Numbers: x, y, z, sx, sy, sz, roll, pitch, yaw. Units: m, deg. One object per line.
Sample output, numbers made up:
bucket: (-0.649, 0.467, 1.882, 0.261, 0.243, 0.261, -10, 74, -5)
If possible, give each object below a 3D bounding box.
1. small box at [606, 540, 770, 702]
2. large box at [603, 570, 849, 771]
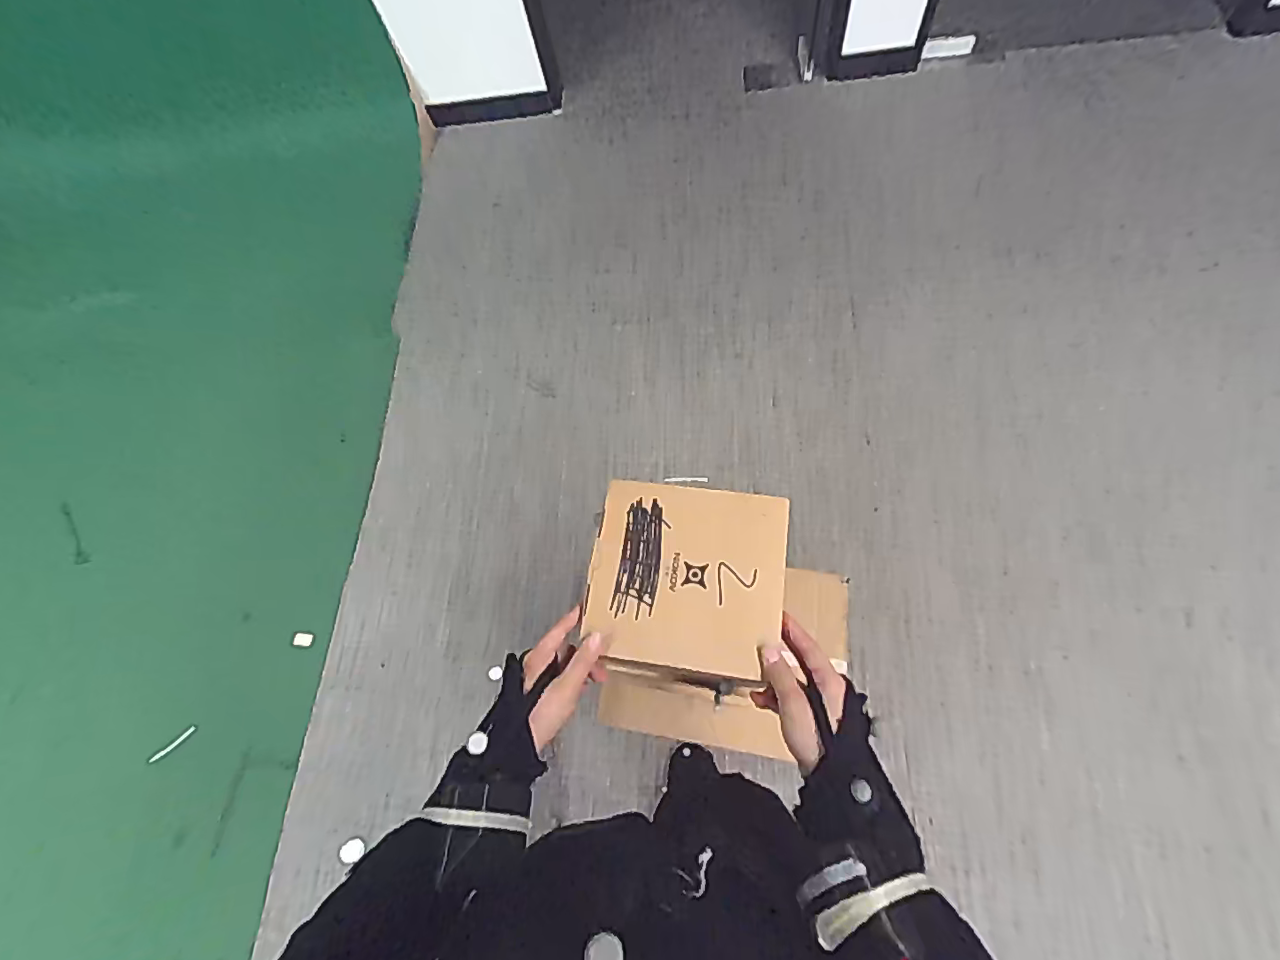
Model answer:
small box: (0.068, 0.189, 0.706, 0.179, 0.176, 0.168, 6, 68, 10)
large box: (0.166, 0.354, 1.065, 0.408, 0.320, 0.320, 6, 70, 9)
